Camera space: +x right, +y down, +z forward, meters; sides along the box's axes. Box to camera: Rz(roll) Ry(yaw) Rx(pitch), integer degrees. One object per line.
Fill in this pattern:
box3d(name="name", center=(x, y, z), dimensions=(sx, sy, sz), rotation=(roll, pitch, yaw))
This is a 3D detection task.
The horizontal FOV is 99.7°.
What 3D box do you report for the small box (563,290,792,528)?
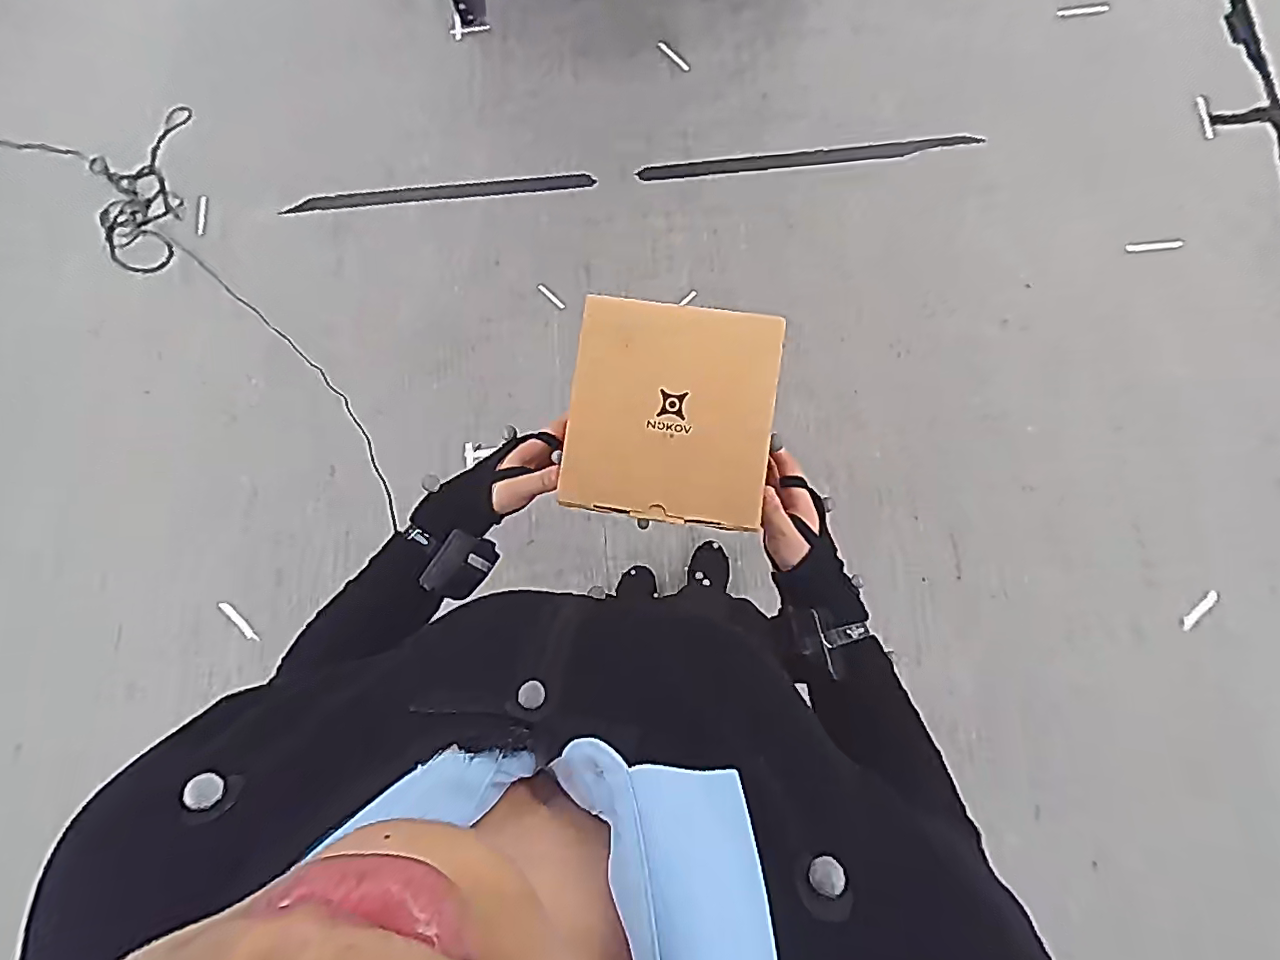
box3d(name="small box", center=(0.033, -0.052, 0.505), dimensions=(0.168, 0.176, 0.179), rotation=(7, 86, 3))
